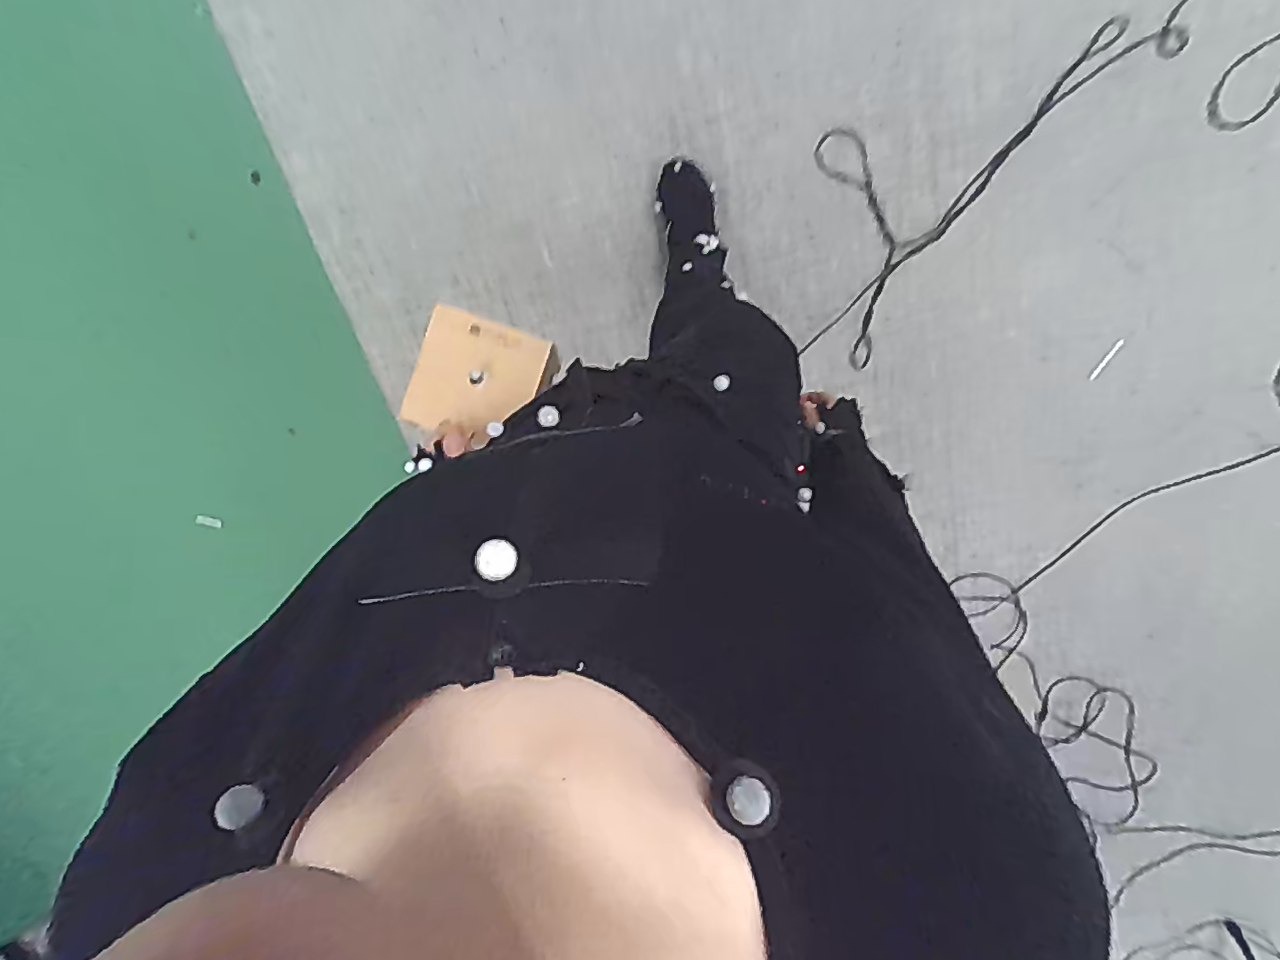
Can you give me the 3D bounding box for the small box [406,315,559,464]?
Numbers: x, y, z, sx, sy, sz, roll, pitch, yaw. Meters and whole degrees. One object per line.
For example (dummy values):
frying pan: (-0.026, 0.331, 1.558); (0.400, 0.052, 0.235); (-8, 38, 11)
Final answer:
small box: (-0.226, -0.130, 0.819); (0.168, 0.179, 0.176); (17, 88, -5)
